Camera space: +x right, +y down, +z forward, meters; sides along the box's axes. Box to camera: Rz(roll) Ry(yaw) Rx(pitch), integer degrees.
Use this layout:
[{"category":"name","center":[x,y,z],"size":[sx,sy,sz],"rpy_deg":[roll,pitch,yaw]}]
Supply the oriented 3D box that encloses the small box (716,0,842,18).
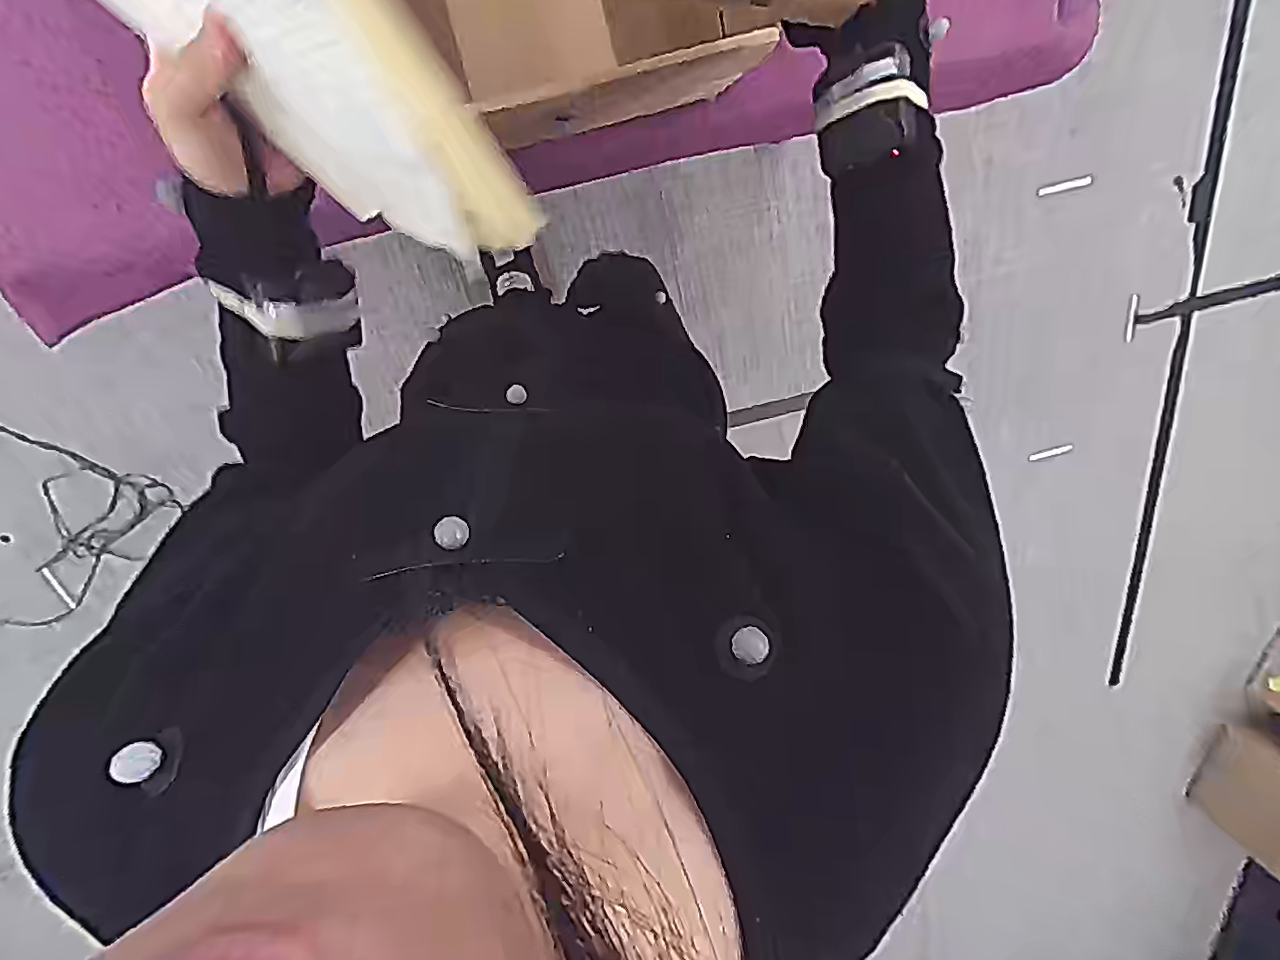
[{"category":"small box","center":[0.063,-0.356,0.235],"size":[0.168,0.176,0.179],"rpy_deg":[2,109,-7]}]

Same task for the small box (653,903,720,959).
[{"category":"small box","center":[0.139,1.406,1.600],"size":[0.179,0.176,0.168],"rpy_deg":[-12,116,-6]}]
